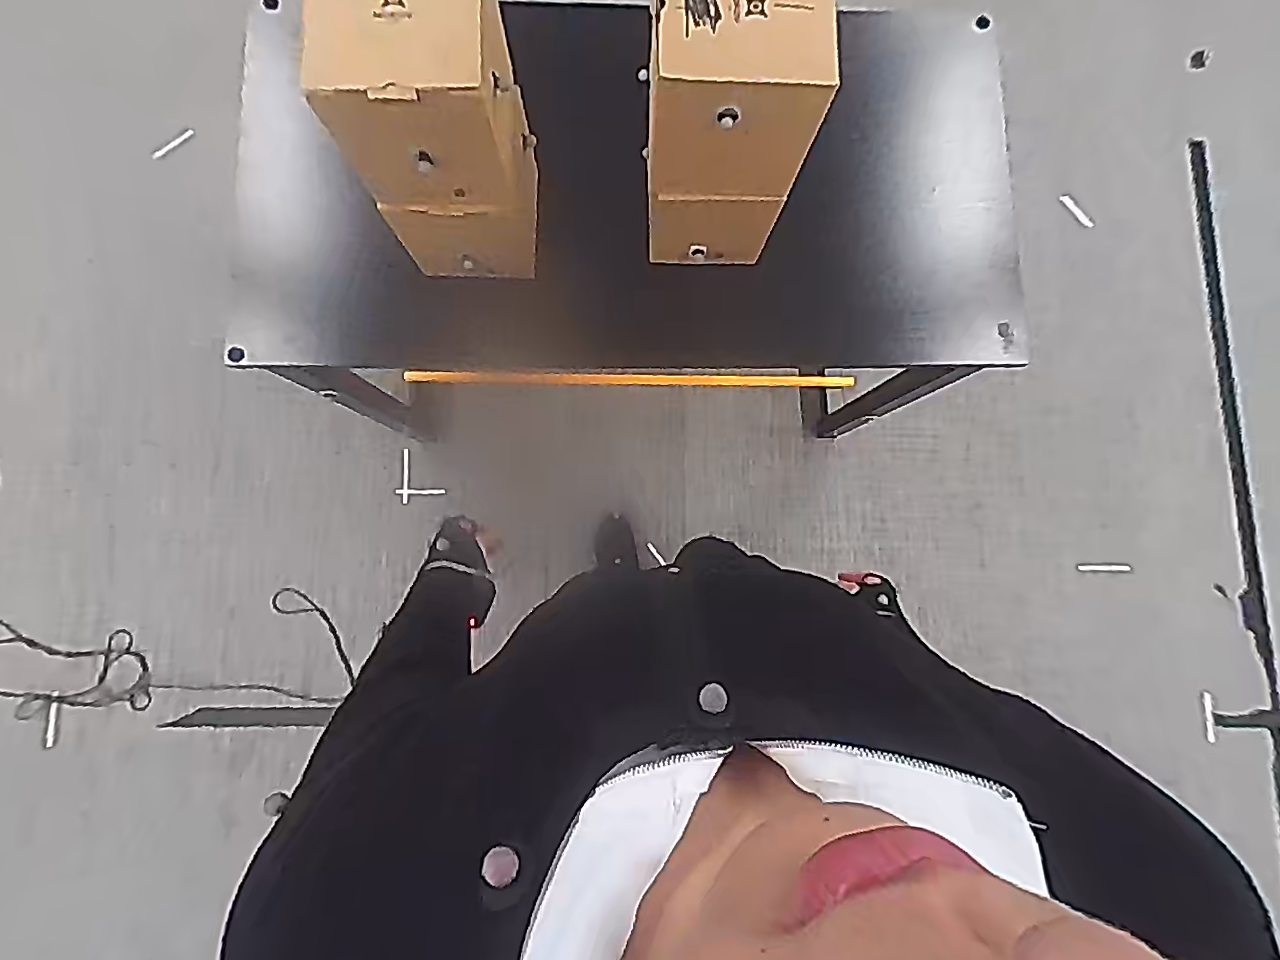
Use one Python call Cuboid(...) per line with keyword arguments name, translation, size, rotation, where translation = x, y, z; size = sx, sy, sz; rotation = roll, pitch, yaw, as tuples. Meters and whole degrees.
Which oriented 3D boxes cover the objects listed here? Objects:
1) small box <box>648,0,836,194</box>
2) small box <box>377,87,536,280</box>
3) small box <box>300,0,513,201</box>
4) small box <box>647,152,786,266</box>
Cuboid(name="small box", translation=(0.099, -0.445, 0.601), size=(0.179, 0.176, 0.168), rotation=(1, 84, -2))
Cuboid(name="small box", translation=(-0.238, -0.400, 0.744), size=(0.168, 0.176, 0.179), rotation=(1, 84, -2))
Cuboid(name="small box", translation=(-0.234, -0.427, 0.582), size=(0.168, 0.176, 0.179), rotation=(-2, 84, -3))
Cuboid(name="small box", translation=(0.097, -0.426, 0.764), size=(0.168, 0.176, 0.179), rotation=(-2, 85, -1))
